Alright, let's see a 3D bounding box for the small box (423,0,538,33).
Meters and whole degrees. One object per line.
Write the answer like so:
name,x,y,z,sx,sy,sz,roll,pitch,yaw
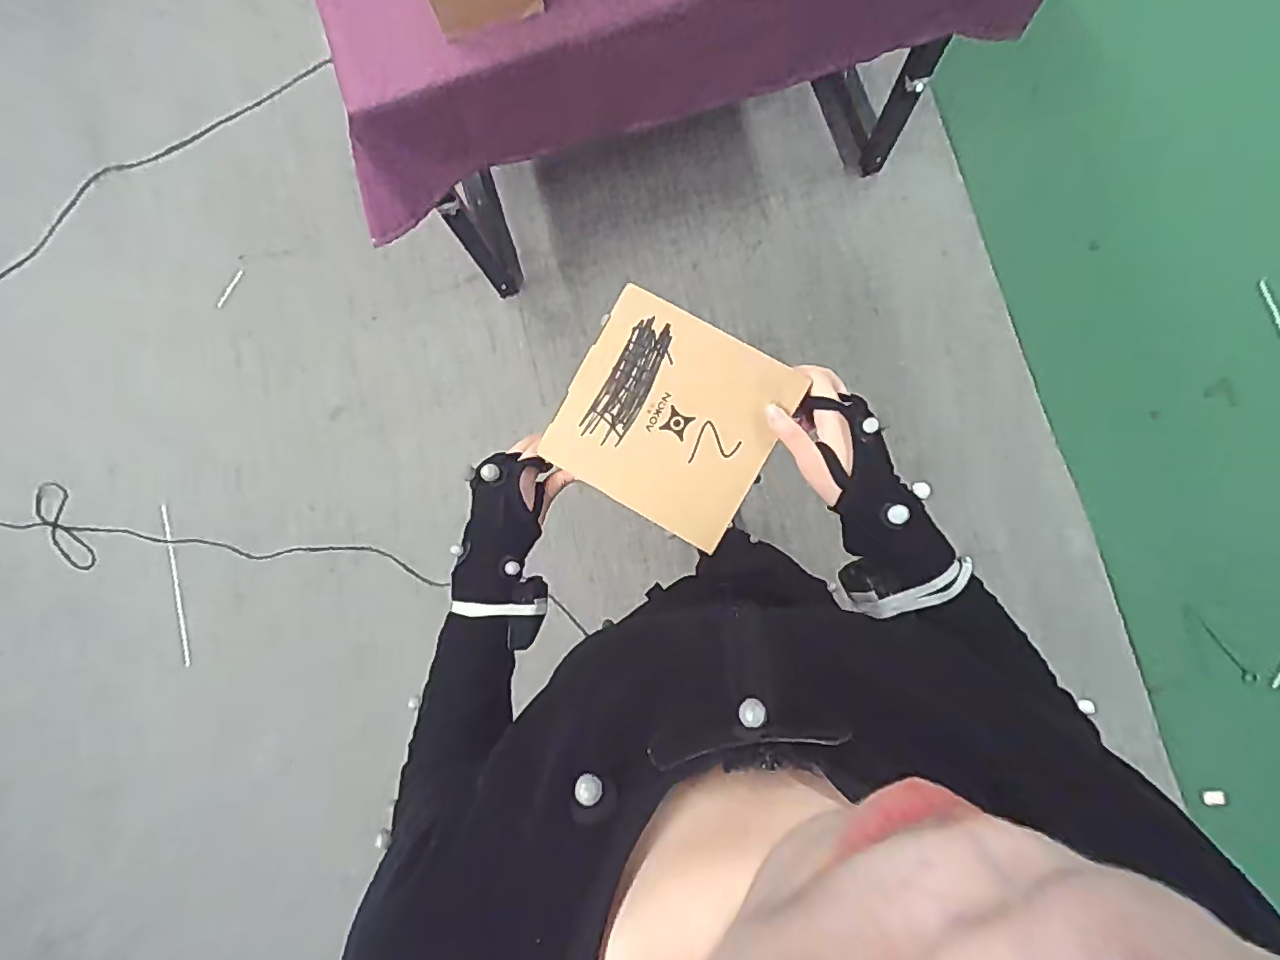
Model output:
small box,-0.272,-0.835,0.820,0.179,0.176,0.168,-14,83,2
